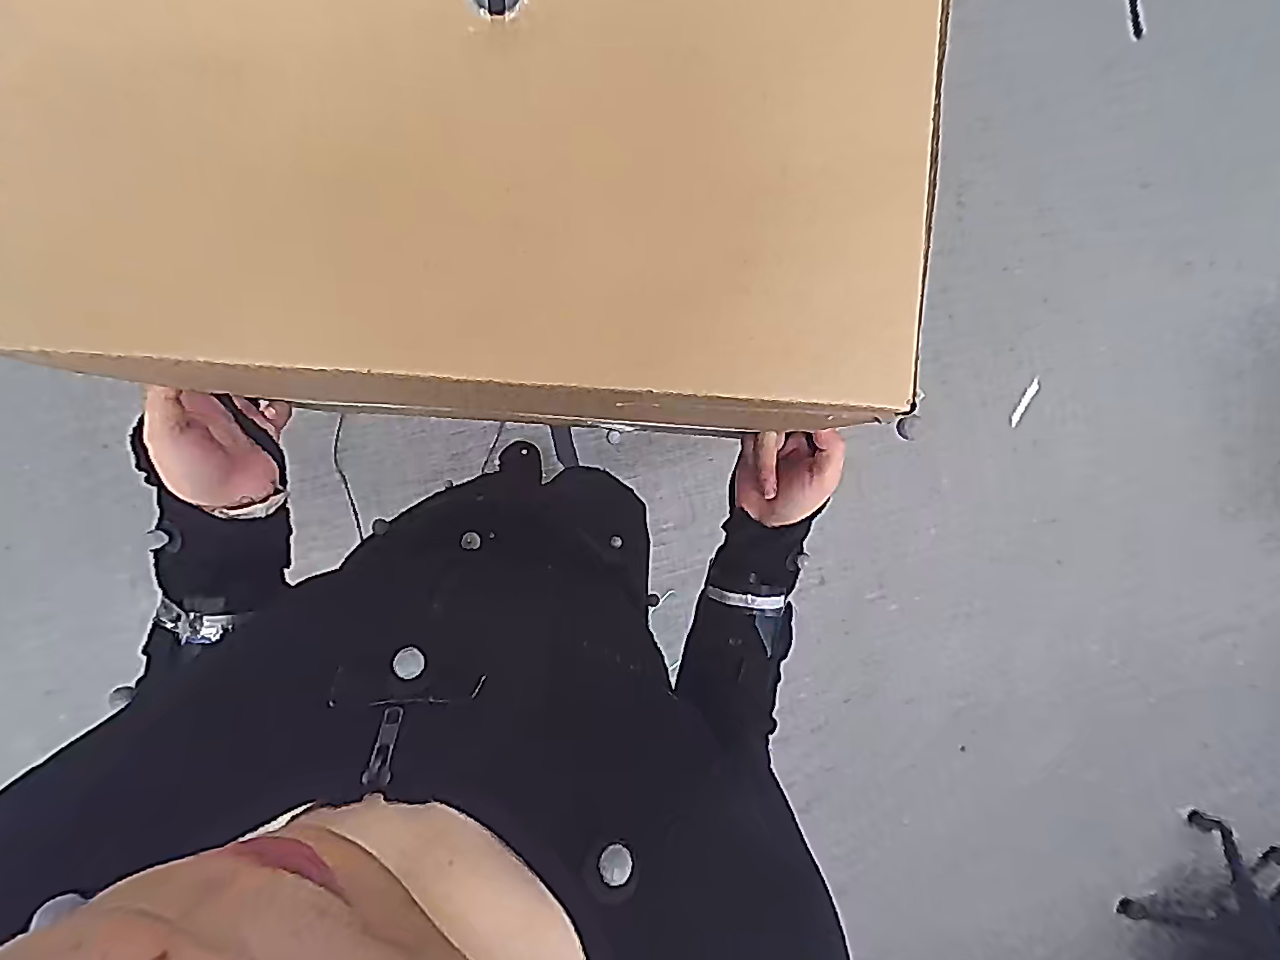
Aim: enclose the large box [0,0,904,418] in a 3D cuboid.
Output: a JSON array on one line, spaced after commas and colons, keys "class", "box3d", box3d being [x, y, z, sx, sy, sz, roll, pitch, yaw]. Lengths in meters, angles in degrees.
[{"class": "large box", "box3d": [-0.089, -0.212, 0.377, 0.408, 0.320, 0.320, 1, 94, -4]}]
